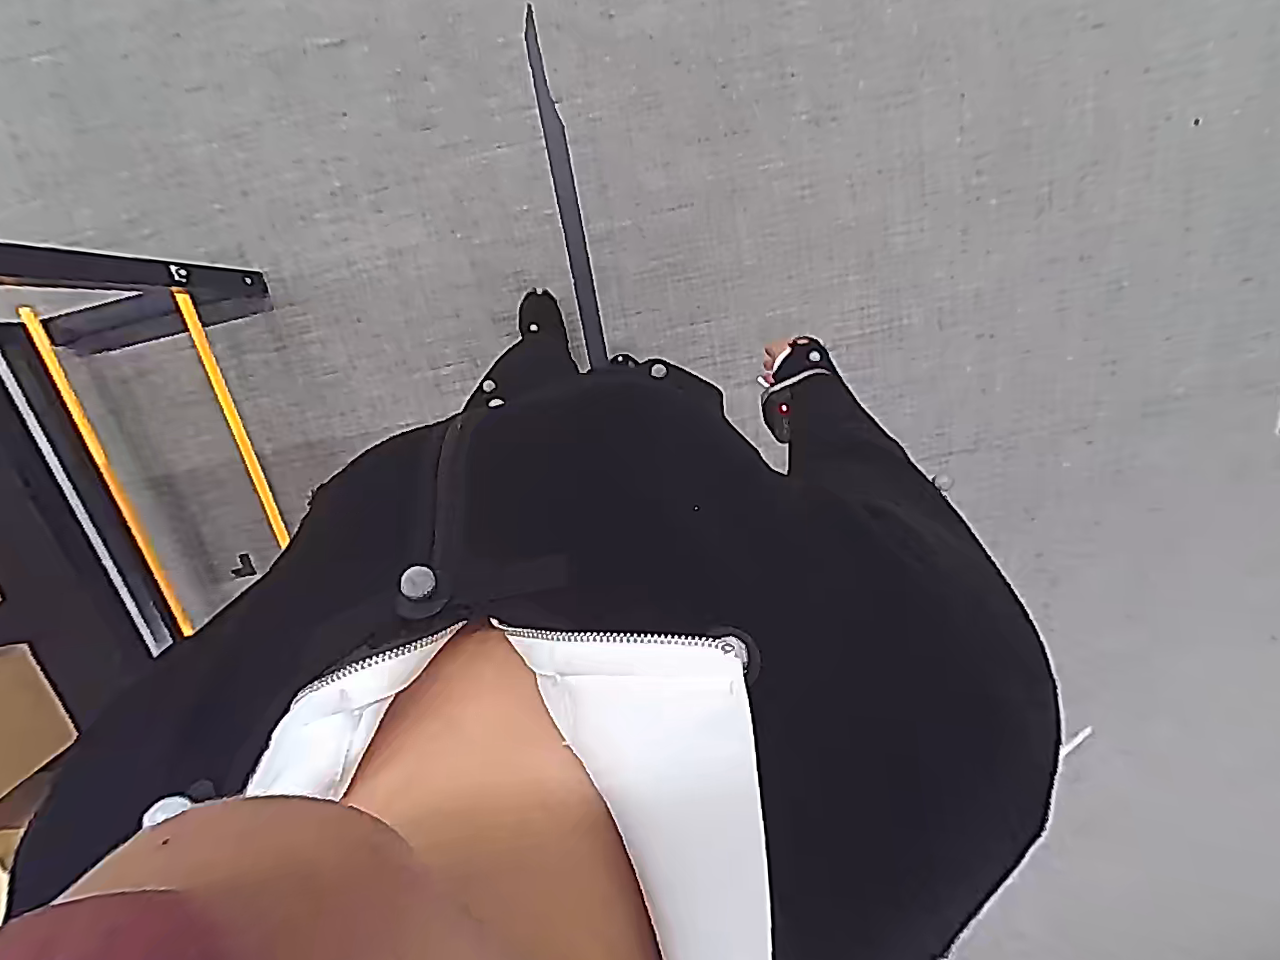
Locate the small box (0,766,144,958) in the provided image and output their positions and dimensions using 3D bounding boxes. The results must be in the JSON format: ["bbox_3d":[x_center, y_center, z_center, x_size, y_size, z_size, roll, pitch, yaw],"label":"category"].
[{"bbox_3d":[-0.916,0.563,0.803,0.179,0.176,0.168,-12,108,2],"label":"small box"}]
